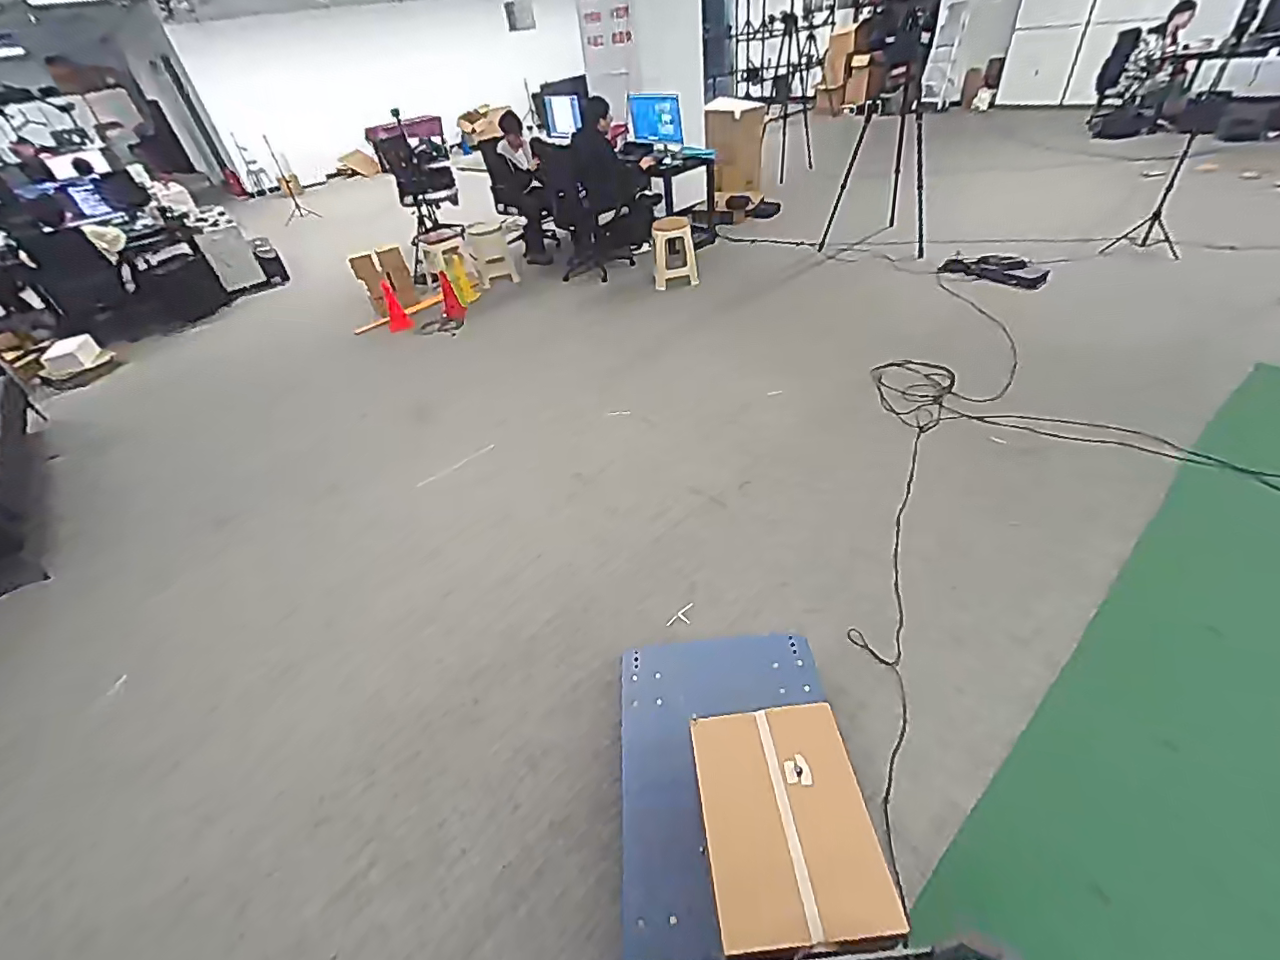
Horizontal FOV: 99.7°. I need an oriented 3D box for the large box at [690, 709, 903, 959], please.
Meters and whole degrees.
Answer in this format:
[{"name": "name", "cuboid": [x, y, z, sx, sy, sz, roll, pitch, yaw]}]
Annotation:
[{"name": "large box", "cuboid": [0.297, 0.774, 1.154, 0.320, 0.320, 0.408, -7, 39, 0]}]
